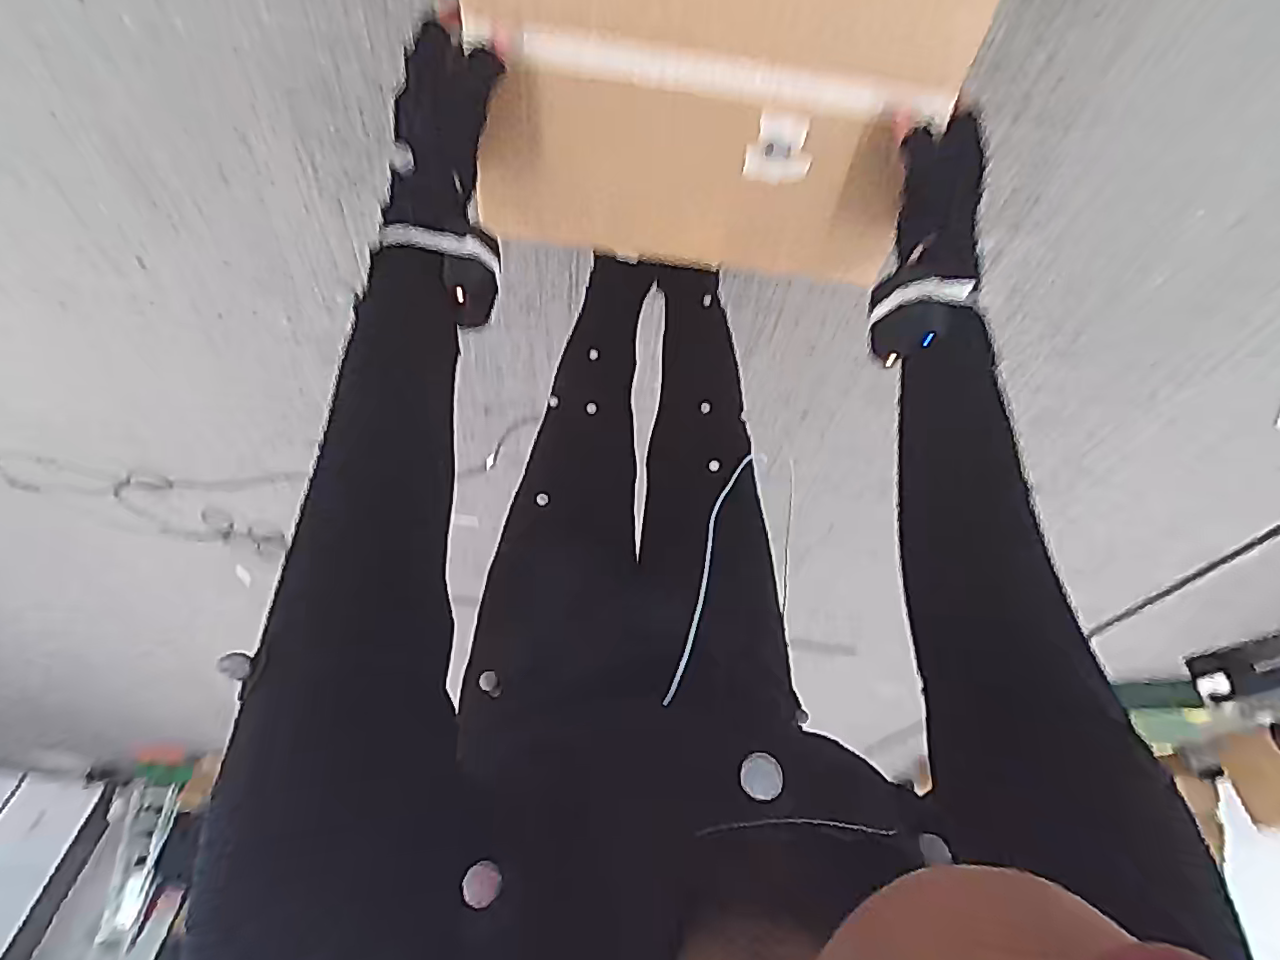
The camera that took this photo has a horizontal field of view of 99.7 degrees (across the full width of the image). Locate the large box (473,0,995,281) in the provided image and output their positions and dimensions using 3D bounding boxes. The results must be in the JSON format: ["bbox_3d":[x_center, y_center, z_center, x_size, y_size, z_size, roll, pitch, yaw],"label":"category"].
[{"bbox_3d":[0.065,-0.436,0.553,0.408,0.320,0.320,6,134,-5],"label":"large box"}]
